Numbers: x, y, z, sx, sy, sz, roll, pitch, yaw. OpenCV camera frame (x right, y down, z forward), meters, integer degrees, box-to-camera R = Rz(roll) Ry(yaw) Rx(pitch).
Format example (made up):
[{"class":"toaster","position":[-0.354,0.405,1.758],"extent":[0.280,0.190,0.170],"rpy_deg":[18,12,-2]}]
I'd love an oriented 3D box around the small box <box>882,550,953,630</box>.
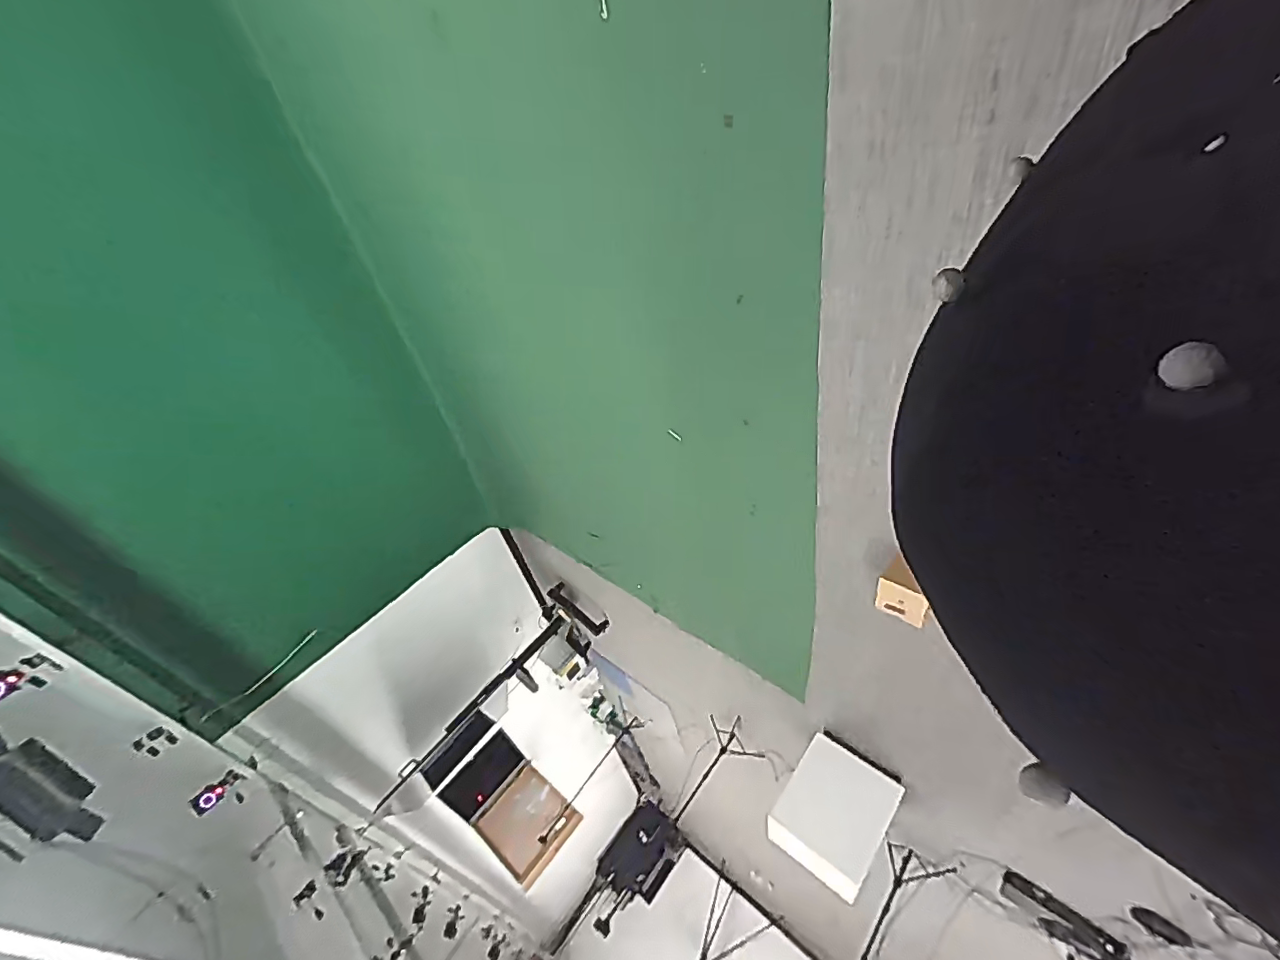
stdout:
[{"class":"small box","position":[0.977,0.383,1.902],"extent":[0.168,0.176,0.179],"rpy_deg":[24,141,37]}]
